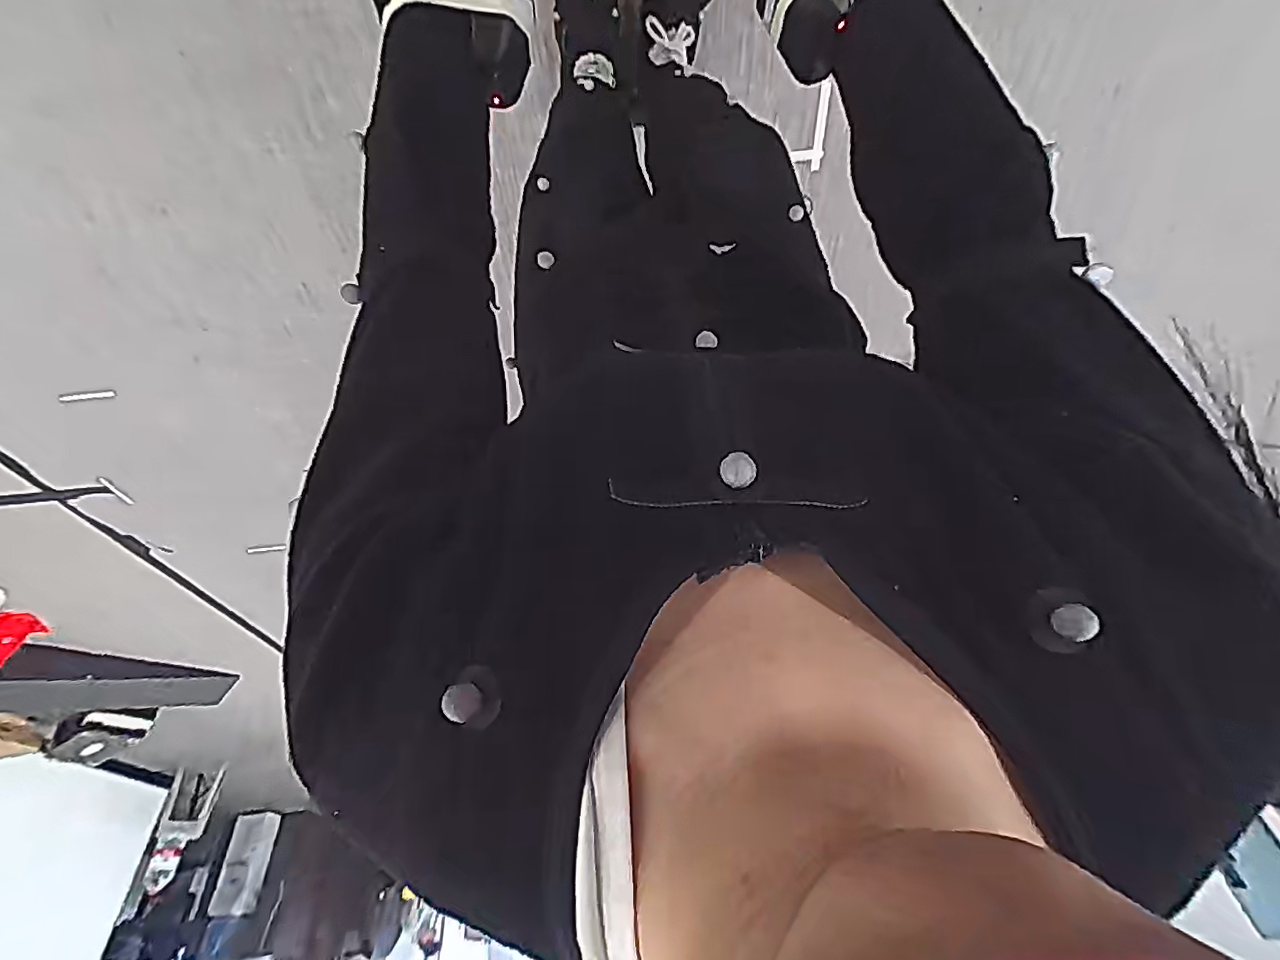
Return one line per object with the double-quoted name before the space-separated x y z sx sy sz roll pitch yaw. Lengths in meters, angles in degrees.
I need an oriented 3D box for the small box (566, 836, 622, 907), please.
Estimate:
"small box" -0.151 1.276 1.767 0.168 0.176 0.179 -6 141 -1
